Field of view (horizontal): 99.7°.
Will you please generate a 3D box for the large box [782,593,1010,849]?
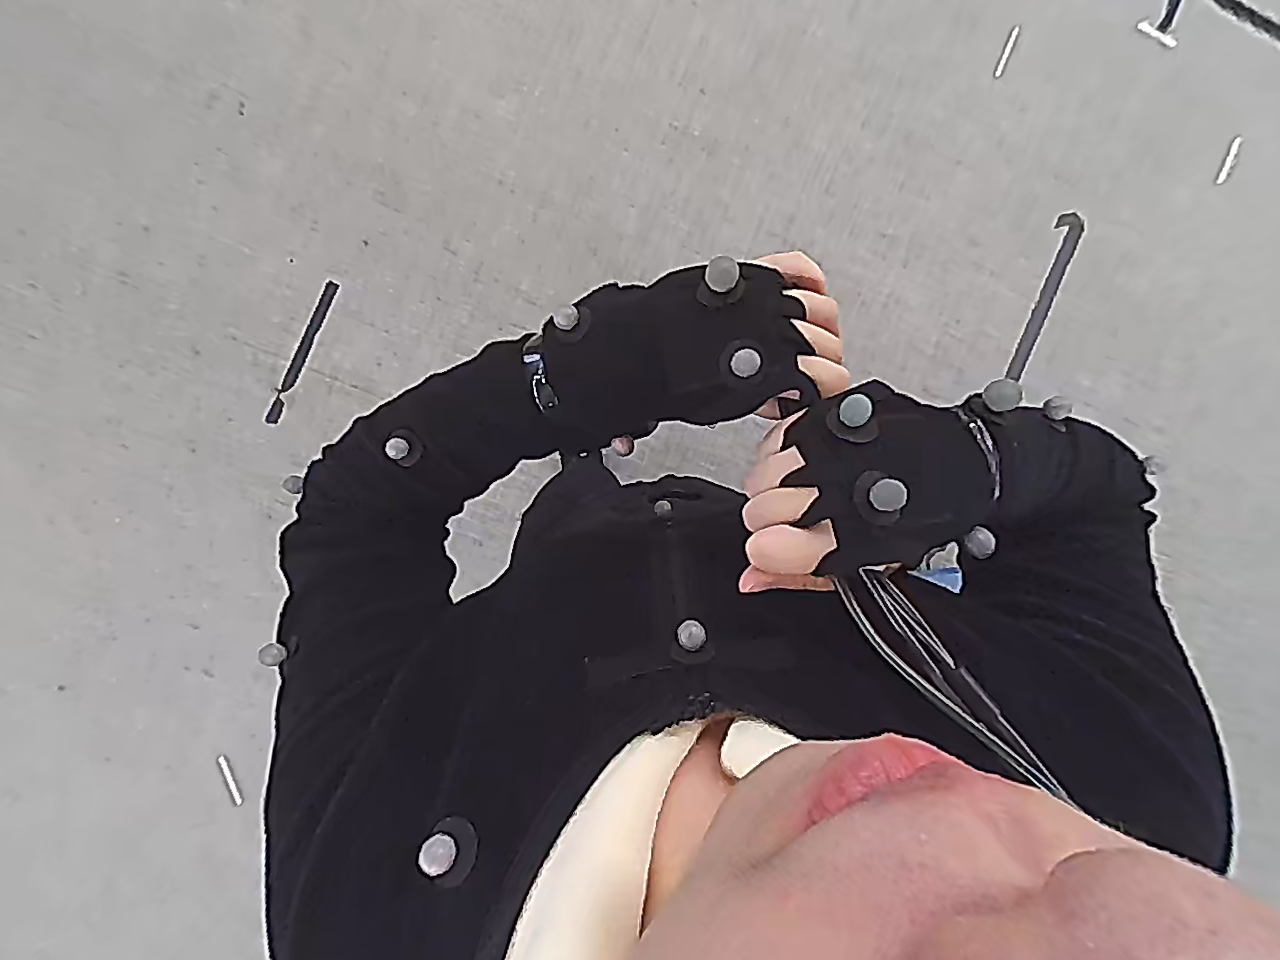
[{"bbox_3d":[0.585,0.540,1.289,0.320,0.320,0.408,-18,96,-5],"label":"large box"}]
